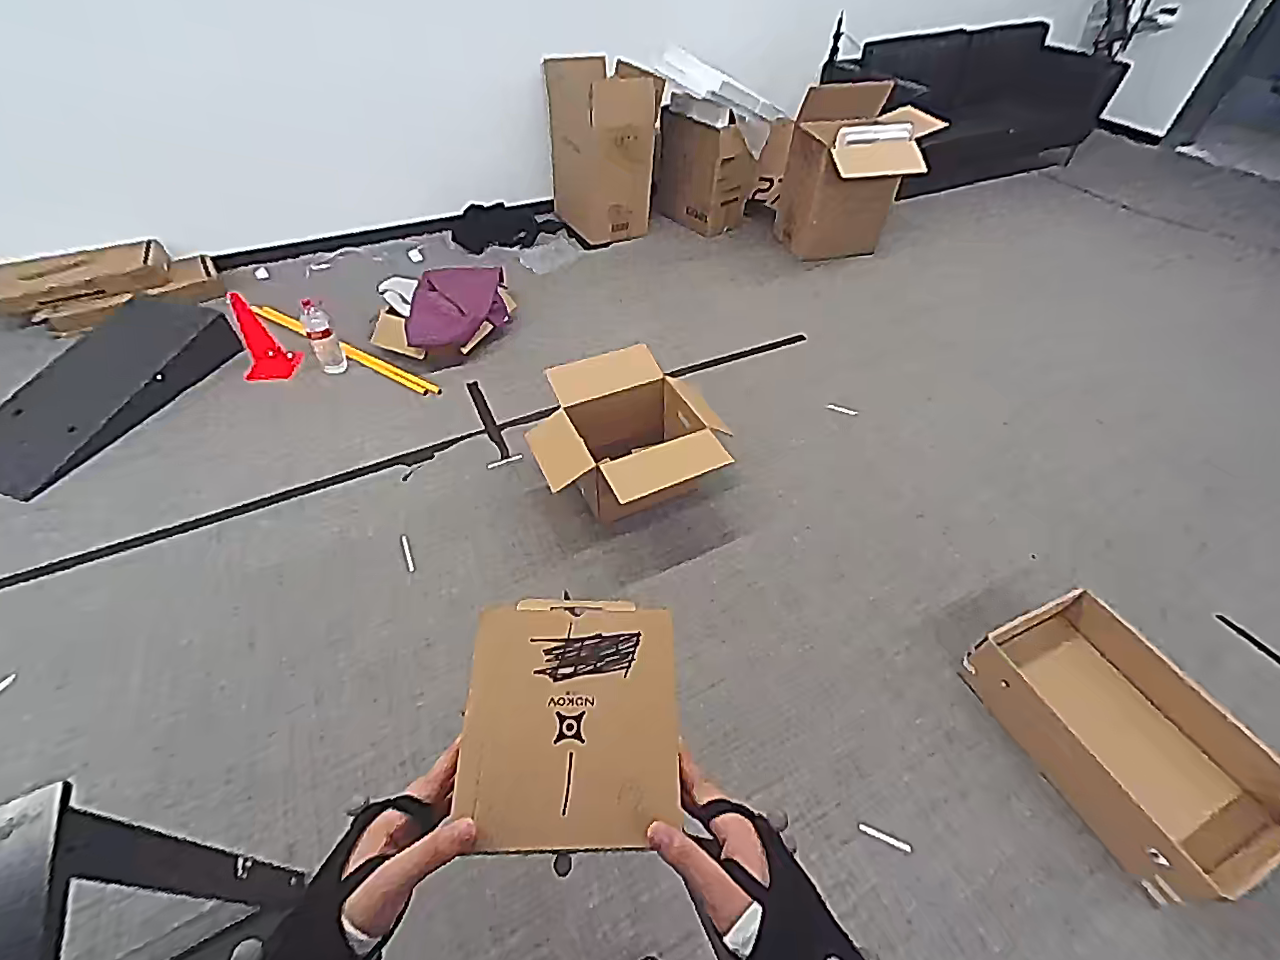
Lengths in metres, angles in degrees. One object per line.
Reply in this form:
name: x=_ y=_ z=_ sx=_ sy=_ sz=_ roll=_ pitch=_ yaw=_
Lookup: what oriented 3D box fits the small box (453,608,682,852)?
small box: x=-0.058 y=0.232 z=0.495 sx=0.168 sy=0.176 sz=0.179 roll=1 pitch=56 yaw=-4
